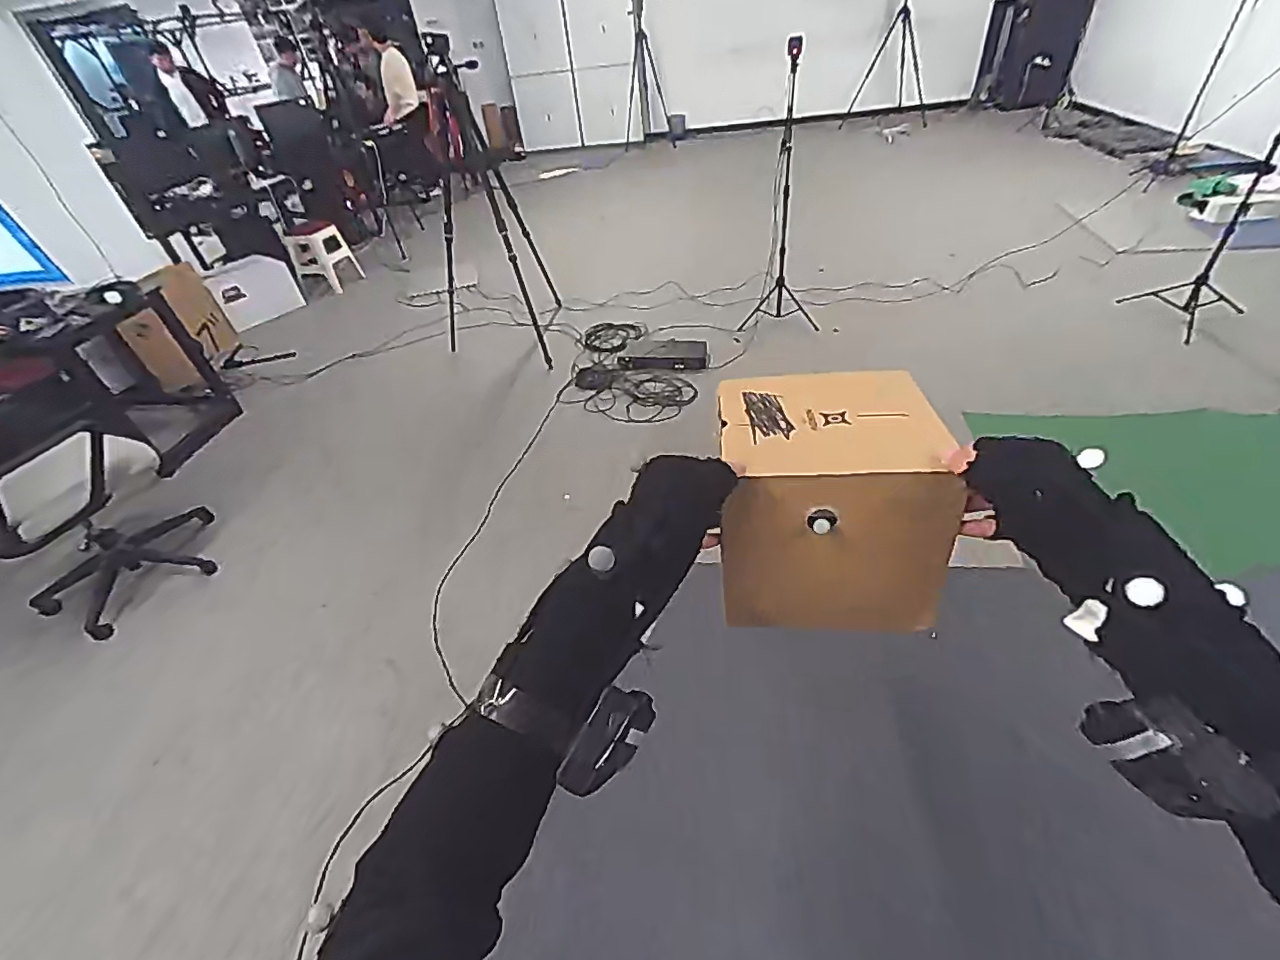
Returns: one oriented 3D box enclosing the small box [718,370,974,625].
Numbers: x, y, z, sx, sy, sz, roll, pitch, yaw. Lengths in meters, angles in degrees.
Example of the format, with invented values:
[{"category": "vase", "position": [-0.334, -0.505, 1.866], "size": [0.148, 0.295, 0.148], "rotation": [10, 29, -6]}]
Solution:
[{"category": "small box", "position": [0.163, 0.015, 0.491], "size": [0.179, 0.176, 0.168], "rotation": [-2, 36, 9]}]
